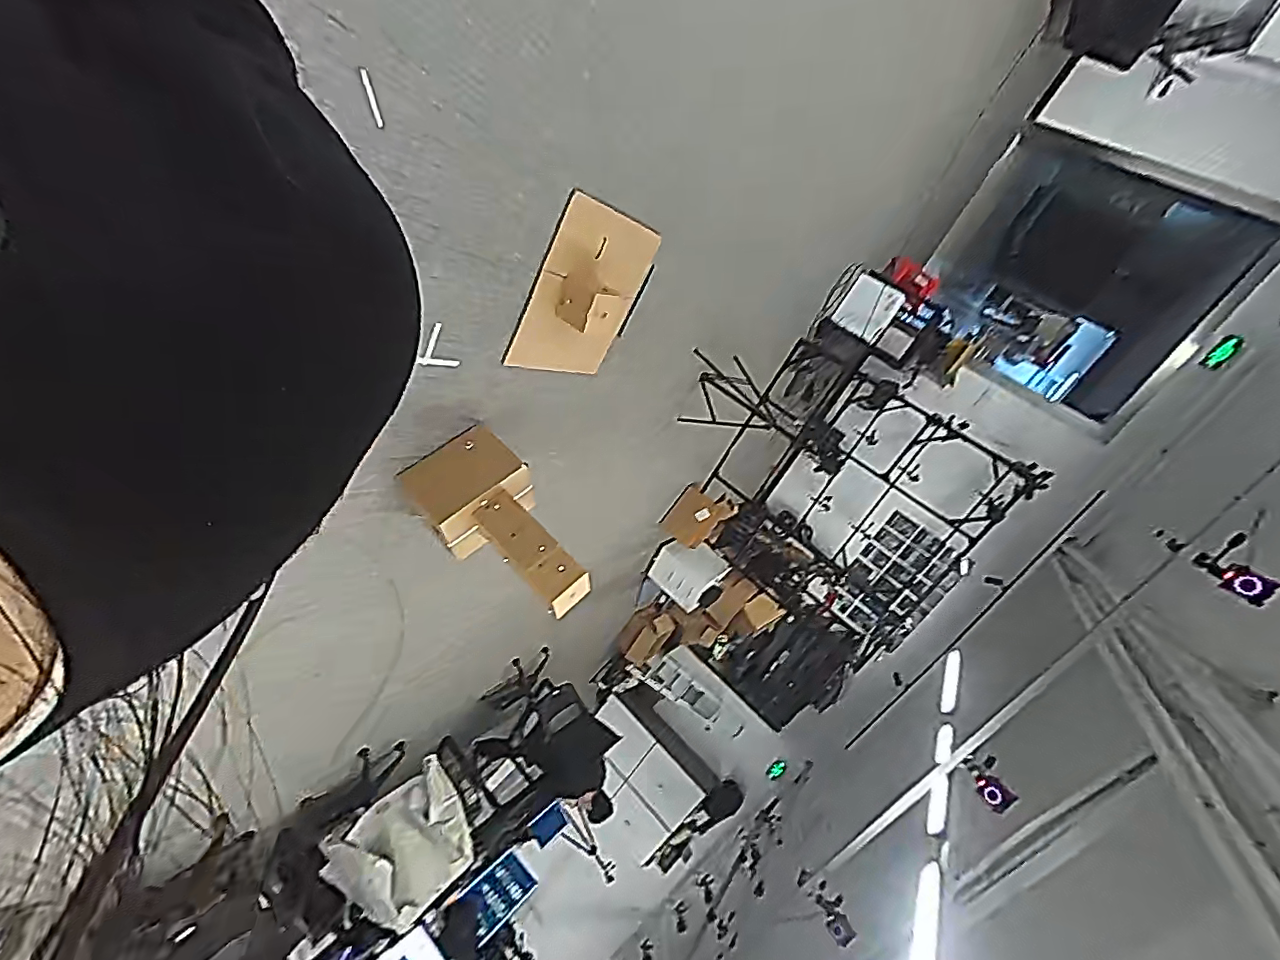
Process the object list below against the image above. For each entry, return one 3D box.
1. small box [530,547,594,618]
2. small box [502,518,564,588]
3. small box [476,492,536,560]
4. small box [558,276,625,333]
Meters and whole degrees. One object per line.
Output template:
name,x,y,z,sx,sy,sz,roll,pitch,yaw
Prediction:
small box,-0.292,0.376,2.012,0.168,0.176,0.179,-40,155,-23
small box,-0.405,0.278,2.079,0.168,0.176,0.179,-40,156,-24
small box,-0.521,0.179,2.139,0.168,0.176,0.179,-40,155,-24
small box,-0.194,-0.700,2.160,0.179,0.176,0.168,-19,140,-50
